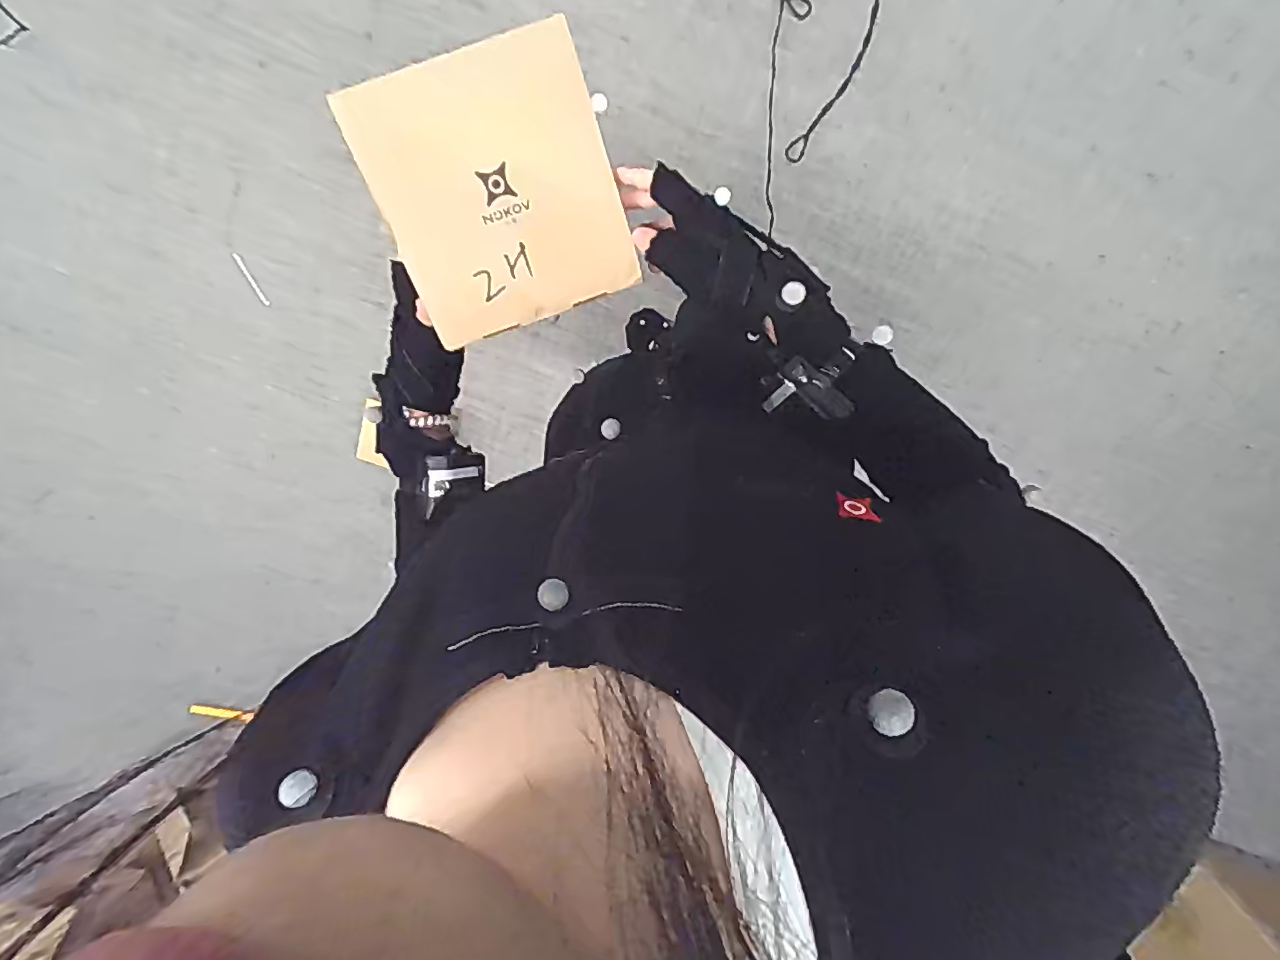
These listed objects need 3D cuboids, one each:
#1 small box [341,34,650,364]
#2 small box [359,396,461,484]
[{"bbox_3d":[-0.105,-0.217,0.454,0.168,0.176,0.179,-19,114,0],"label":"small box"},{"bbox_3d":[-0.600,-0.113,1.424,0.179,0.176,0.168,19,108,-3],"label":"small box"}]
